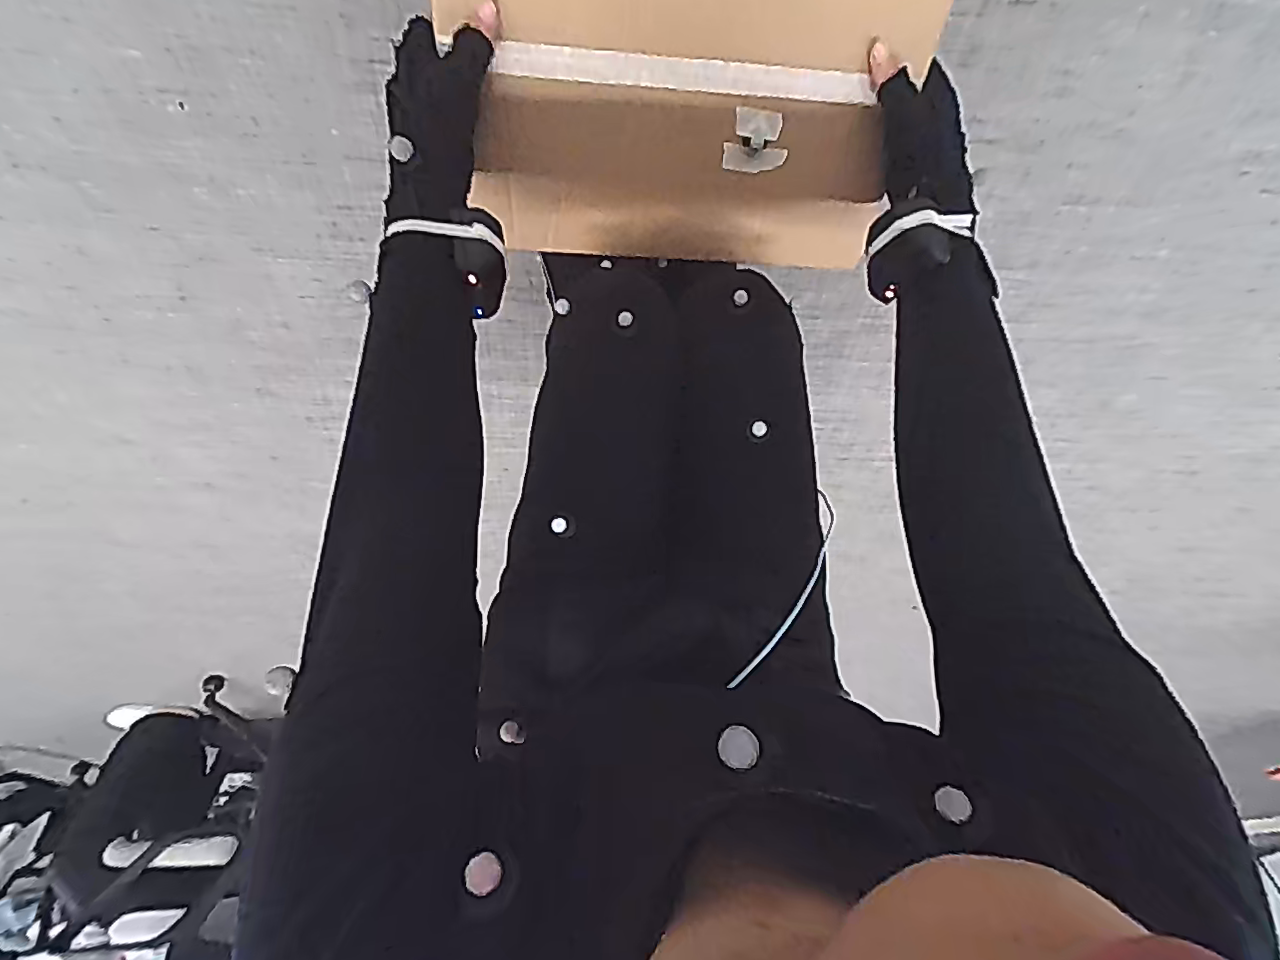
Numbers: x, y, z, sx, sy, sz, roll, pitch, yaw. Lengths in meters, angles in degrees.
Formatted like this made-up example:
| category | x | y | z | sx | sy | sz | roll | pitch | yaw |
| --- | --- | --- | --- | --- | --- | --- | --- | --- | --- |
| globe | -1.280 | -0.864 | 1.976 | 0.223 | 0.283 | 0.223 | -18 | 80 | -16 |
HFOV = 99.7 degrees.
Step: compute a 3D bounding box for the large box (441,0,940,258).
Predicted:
| category | x | y | z | sx | sy | sz | roll | pitch | yaw |
| --- | --- | --- | --- | --- | --- | --- | --- | --- | --- |
| large box | 0.030 | -0.451 | 0.565 | 0.408 | 0.320 | 0.320 | 1 | 135 | -6 |
